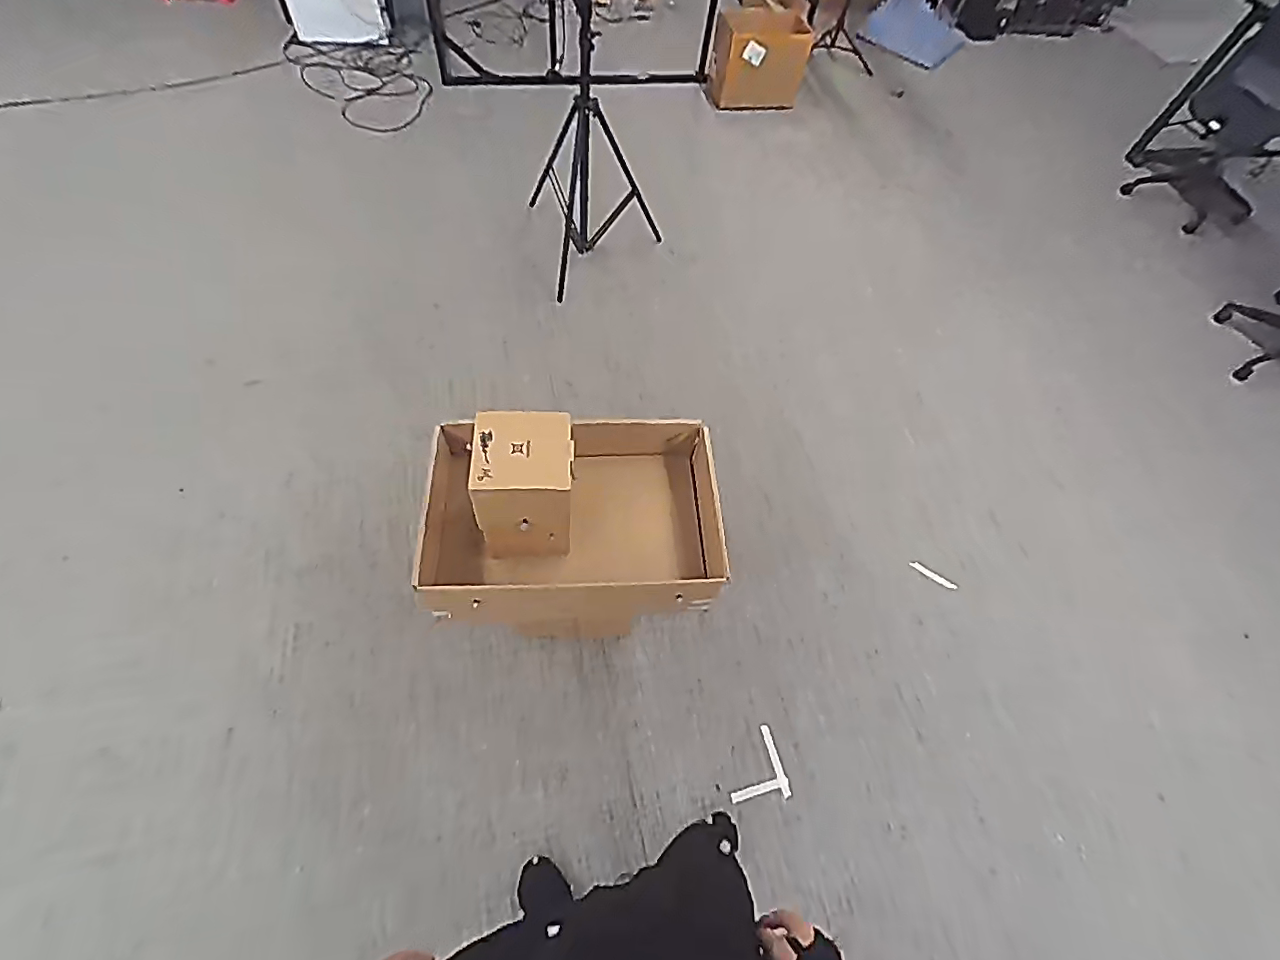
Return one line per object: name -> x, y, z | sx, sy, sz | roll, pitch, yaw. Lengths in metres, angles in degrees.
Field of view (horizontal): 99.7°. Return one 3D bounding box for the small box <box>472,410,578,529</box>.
small box -> -0.211, -0.014, 1.028 | 0.179, 0.176, 0.168 | 1, 60, -8
